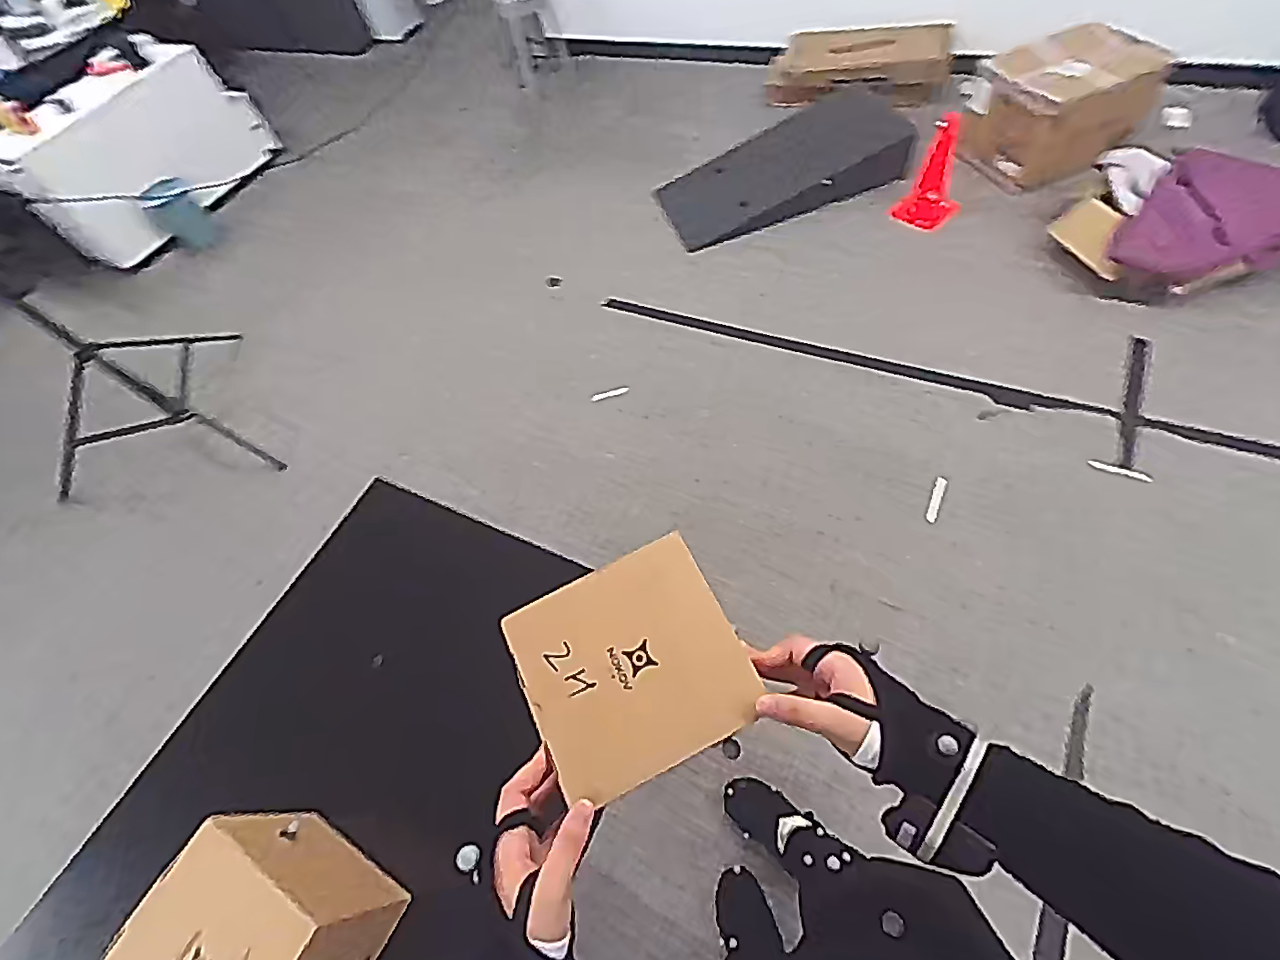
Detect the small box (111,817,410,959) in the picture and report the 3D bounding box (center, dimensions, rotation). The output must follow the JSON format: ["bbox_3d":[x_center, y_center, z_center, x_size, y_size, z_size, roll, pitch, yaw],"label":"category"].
[{"bbox_3d":[-0.385,0.480,0.560,0.179,0.176,0.168,21,66,20],"label":"small box"}]

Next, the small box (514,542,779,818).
[{"bbox_3d":[0.007,0.186,0.517,0.179,0.176,0.168,-25,65,-5],"label":"small box"}]
